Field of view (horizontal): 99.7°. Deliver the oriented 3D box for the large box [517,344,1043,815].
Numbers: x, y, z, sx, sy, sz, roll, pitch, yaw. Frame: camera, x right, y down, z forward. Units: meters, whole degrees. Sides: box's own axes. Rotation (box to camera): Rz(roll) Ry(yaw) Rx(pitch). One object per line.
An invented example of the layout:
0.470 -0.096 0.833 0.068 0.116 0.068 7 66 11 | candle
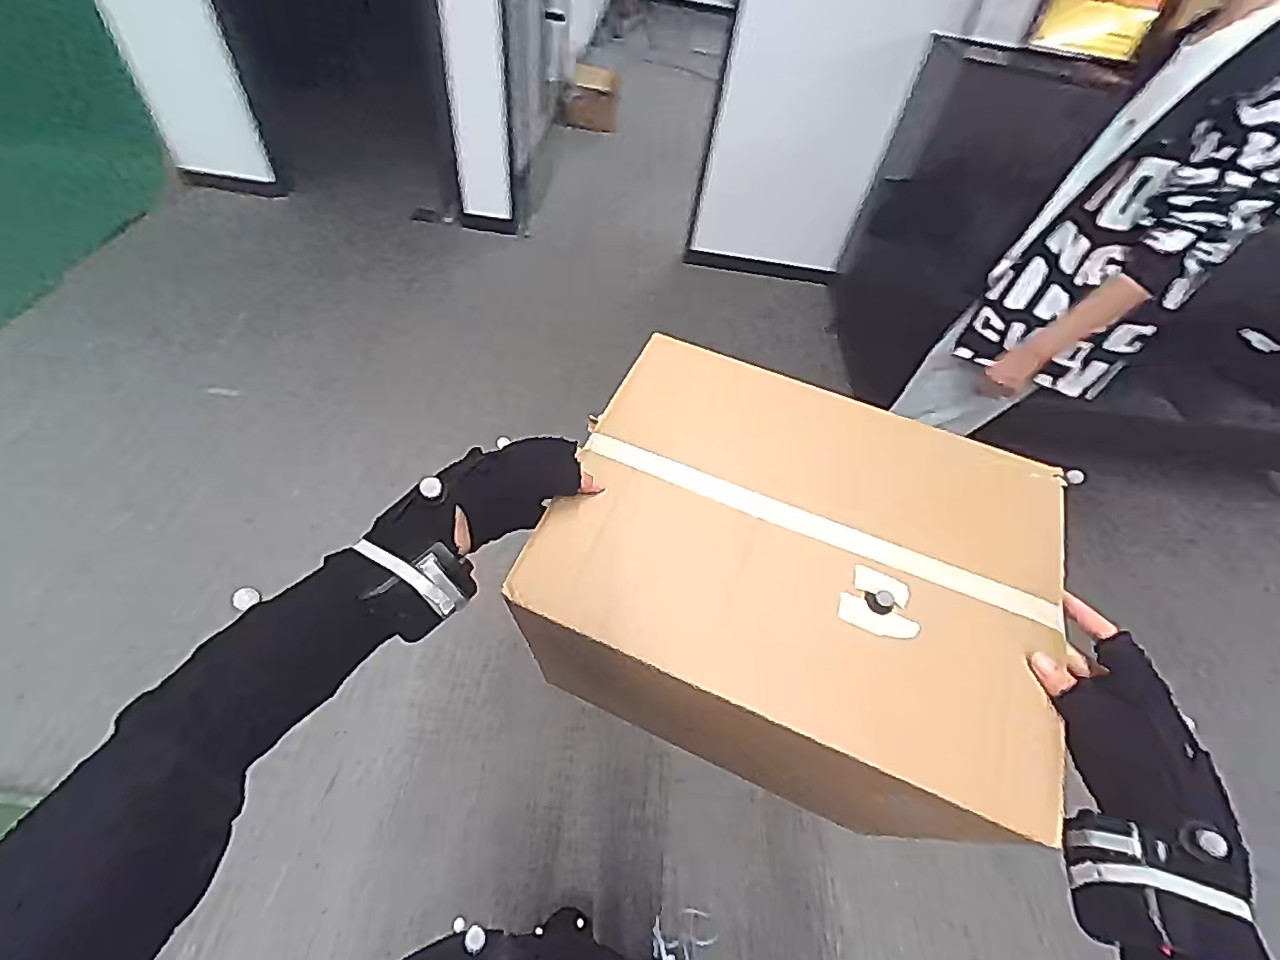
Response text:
0.129 0.117 0.592 0.408 0.320 0.320 21 59 9 | large box
